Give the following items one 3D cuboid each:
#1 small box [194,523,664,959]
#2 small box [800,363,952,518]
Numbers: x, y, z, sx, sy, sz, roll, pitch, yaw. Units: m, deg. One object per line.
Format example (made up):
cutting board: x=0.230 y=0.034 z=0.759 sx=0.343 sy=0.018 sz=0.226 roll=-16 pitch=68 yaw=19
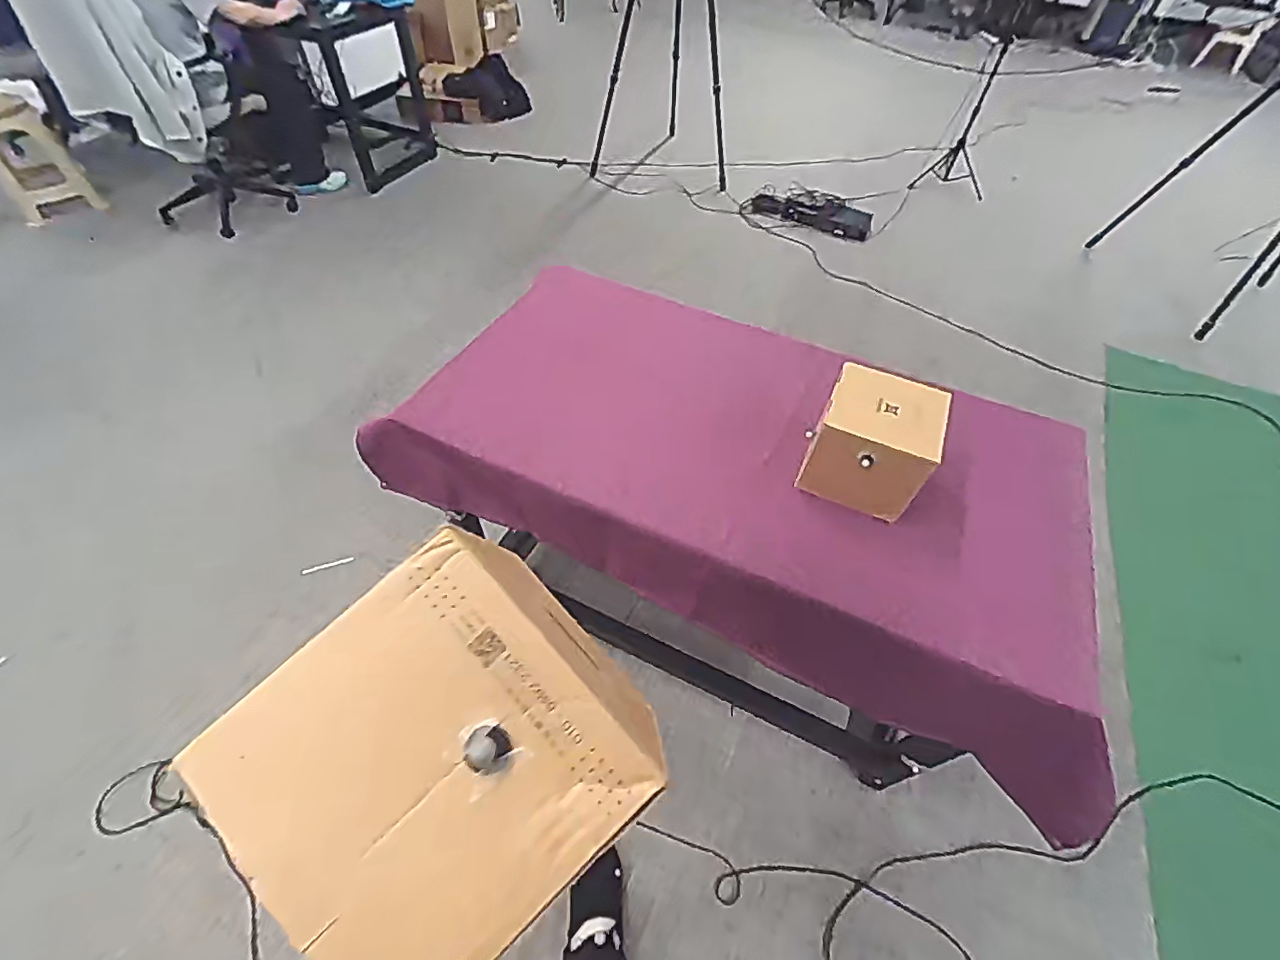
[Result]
small box: x=-0.100 y=0.148 z=0.340 sx=0.176 sy=0.179 sz=0.168 roll=-42 pitch=81 yaw=-10
small box: x=0.388 y=-0.062 z=0.910 sx=0.179 sy=0.176 sz=0.168 roll=22 pitch=55 yaw=14
